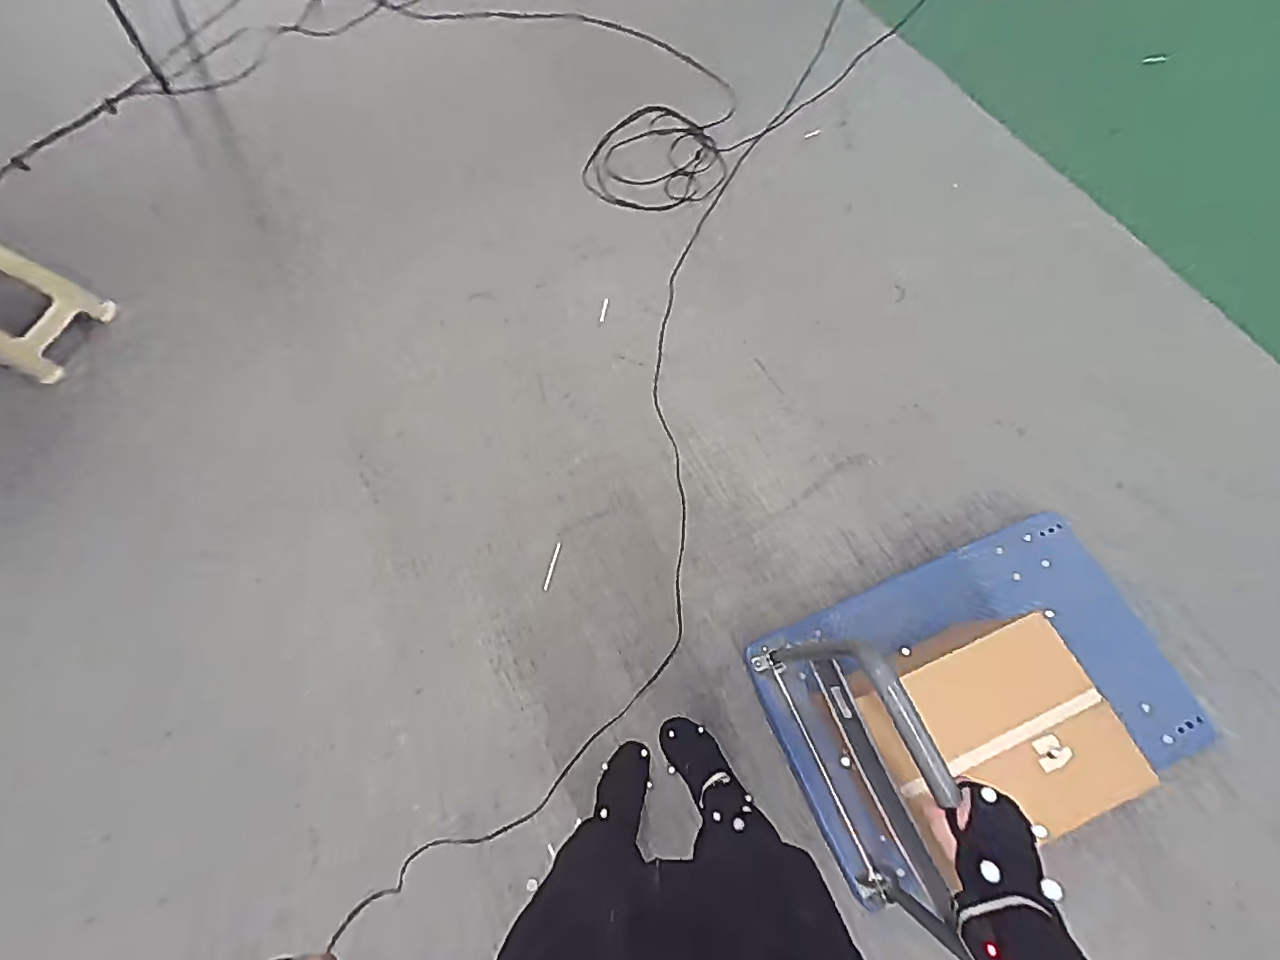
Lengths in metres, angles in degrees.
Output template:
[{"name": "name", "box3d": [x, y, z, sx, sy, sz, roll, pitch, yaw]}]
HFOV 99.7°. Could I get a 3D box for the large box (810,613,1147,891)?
[{"name": "large box", "box3d": [0.619, 0.506, 1.075, 0.408, 0.320, 0.320, -23, 71, -5]}]
